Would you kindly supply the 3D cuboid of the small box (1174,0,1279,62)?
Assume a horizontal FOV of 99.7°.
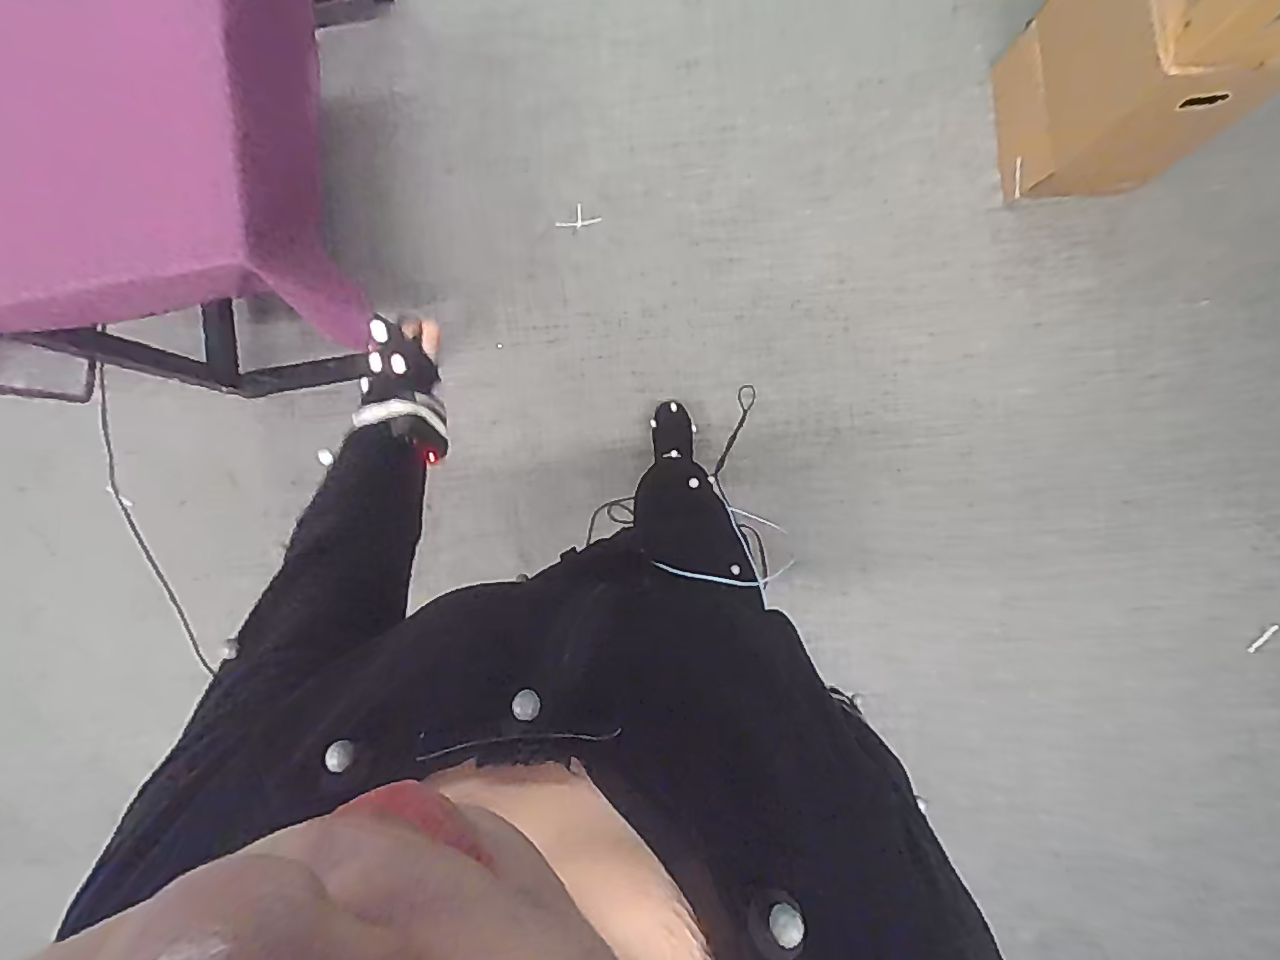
[{"bbox_3d":[1.106,-0.876,0.948,0.179,0.176,0.168,2,87,4],"label":"small box"}]
